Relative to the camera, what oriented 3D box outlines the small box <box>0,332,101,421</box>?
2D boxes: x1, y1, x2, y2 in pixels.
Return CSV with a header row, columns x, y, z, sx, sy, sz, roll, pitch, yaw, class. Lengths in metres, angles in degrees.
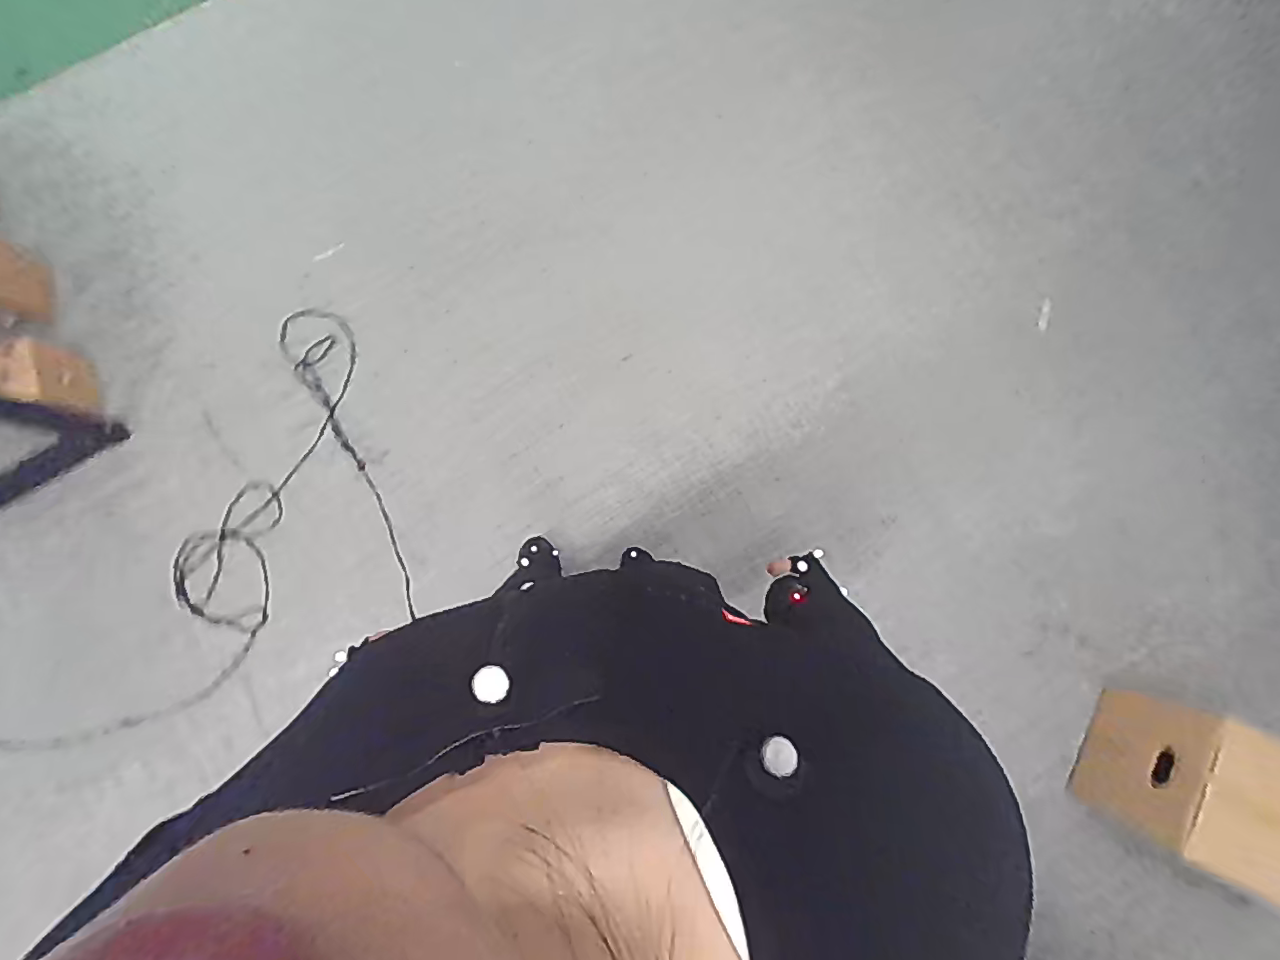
x,y,z,sx,sy,sz,roll,pitch,yaw,class
-1.642,-0.273,1.481,0.168,0.176,0.179,-19,83,-3,small box
